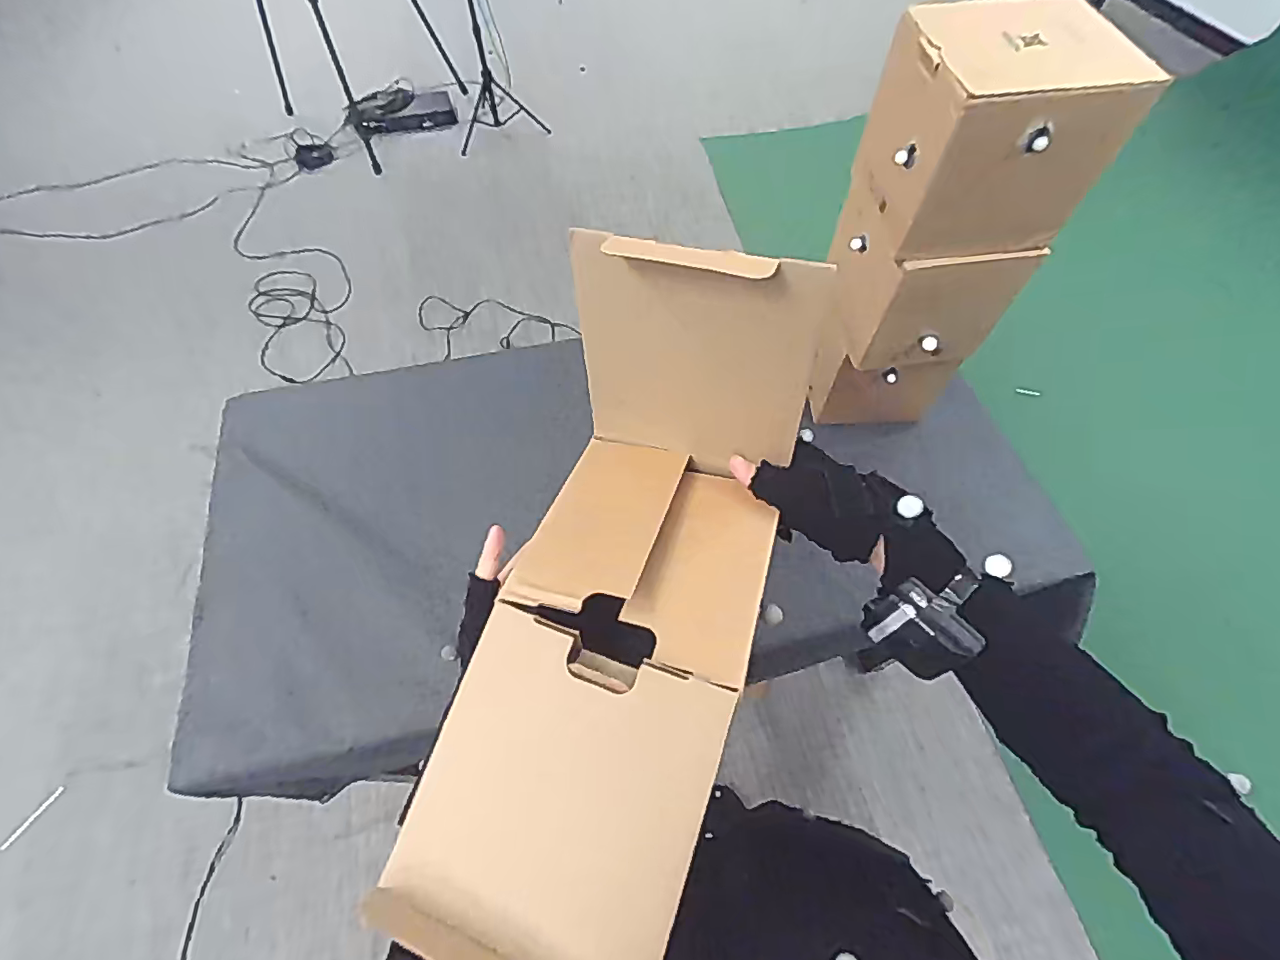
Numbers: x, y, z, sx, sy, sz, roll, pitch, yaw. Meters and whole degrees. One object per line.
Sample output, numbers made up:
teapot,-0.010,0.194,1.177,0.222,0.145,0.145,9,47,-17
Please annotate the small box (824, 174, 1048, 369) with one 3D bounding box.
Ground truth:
small box,0.356,-0.268,0.694,0.168,0.176,0.179,-7,61,-2

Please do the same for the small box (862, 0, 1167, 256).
small box,0.348,-0.351,0.554,0.179,0.176,0.168,-4,61,-1

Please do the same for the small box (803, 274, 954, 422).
small box,0.364,-0.202,0.845,0.179,0.176,0.168,-1,60,0
